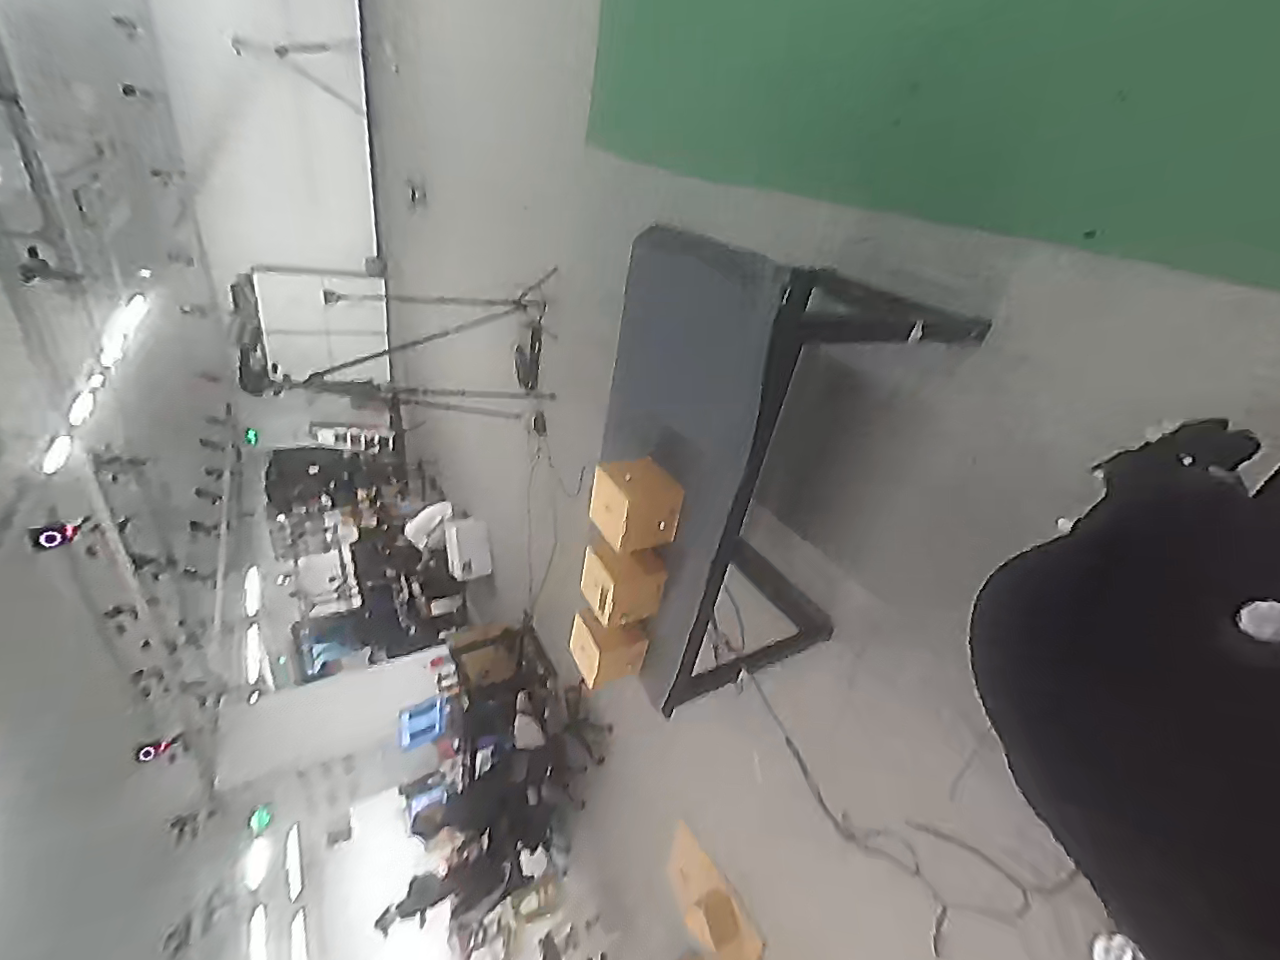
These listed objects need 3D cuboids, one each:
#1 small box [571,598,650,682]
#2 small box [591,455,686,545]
[{"bbox_3d":[-0.094,0.482,1.659,0.179,0.176,0.168,50,137,43],"label":"small box"},{"bbox_3d":[-0.008,0.045,1.413,0.179,0.176,0.168,44,133,44],"label":"small box"}]
